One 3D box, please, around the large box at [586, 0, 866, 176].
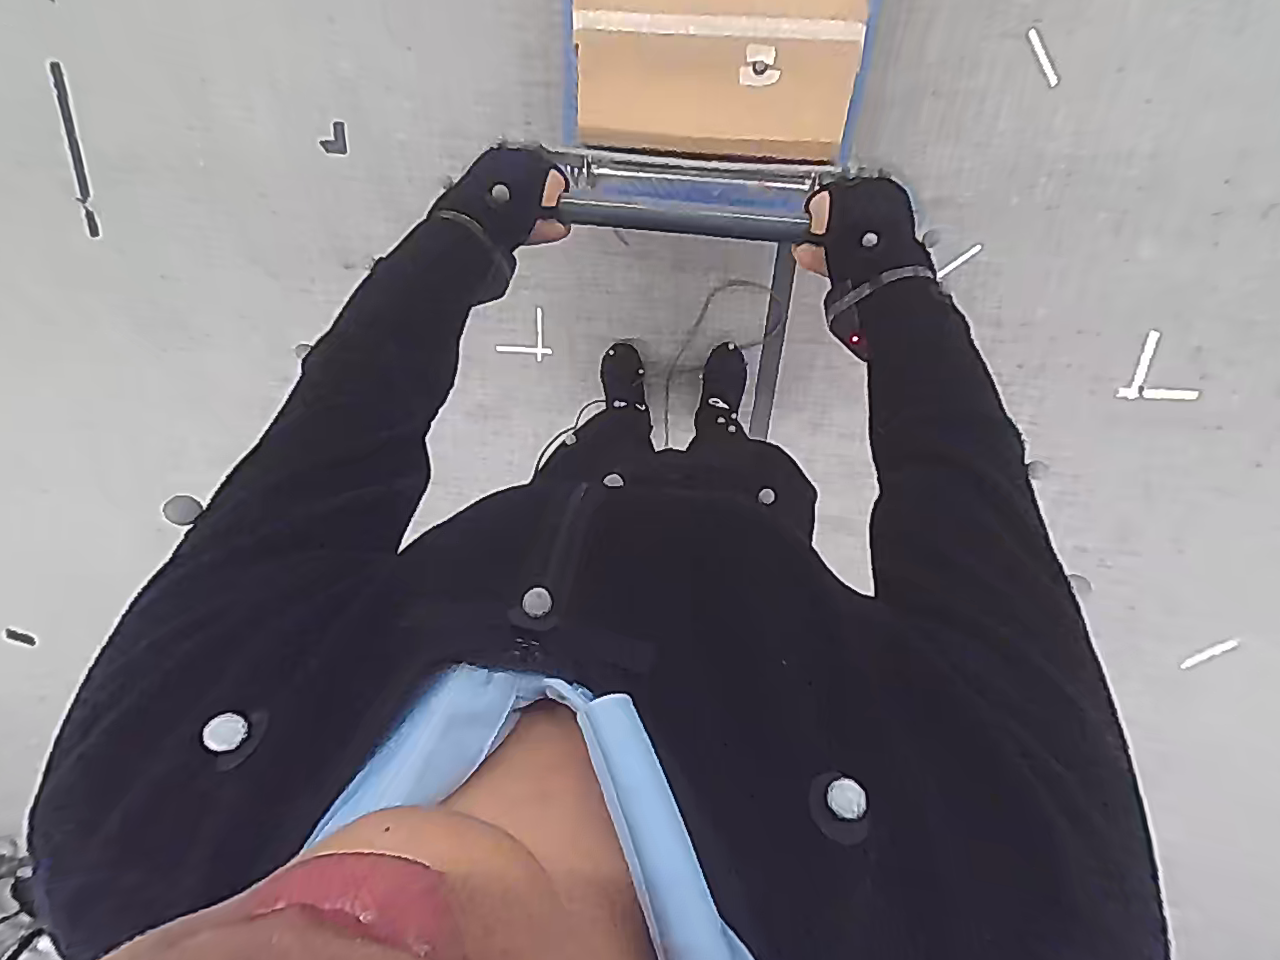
[{"bbox_3d":[0.131,-0.713,0.919,0.408,0.320,0.320,6,117,4],"label":"large box"}]
